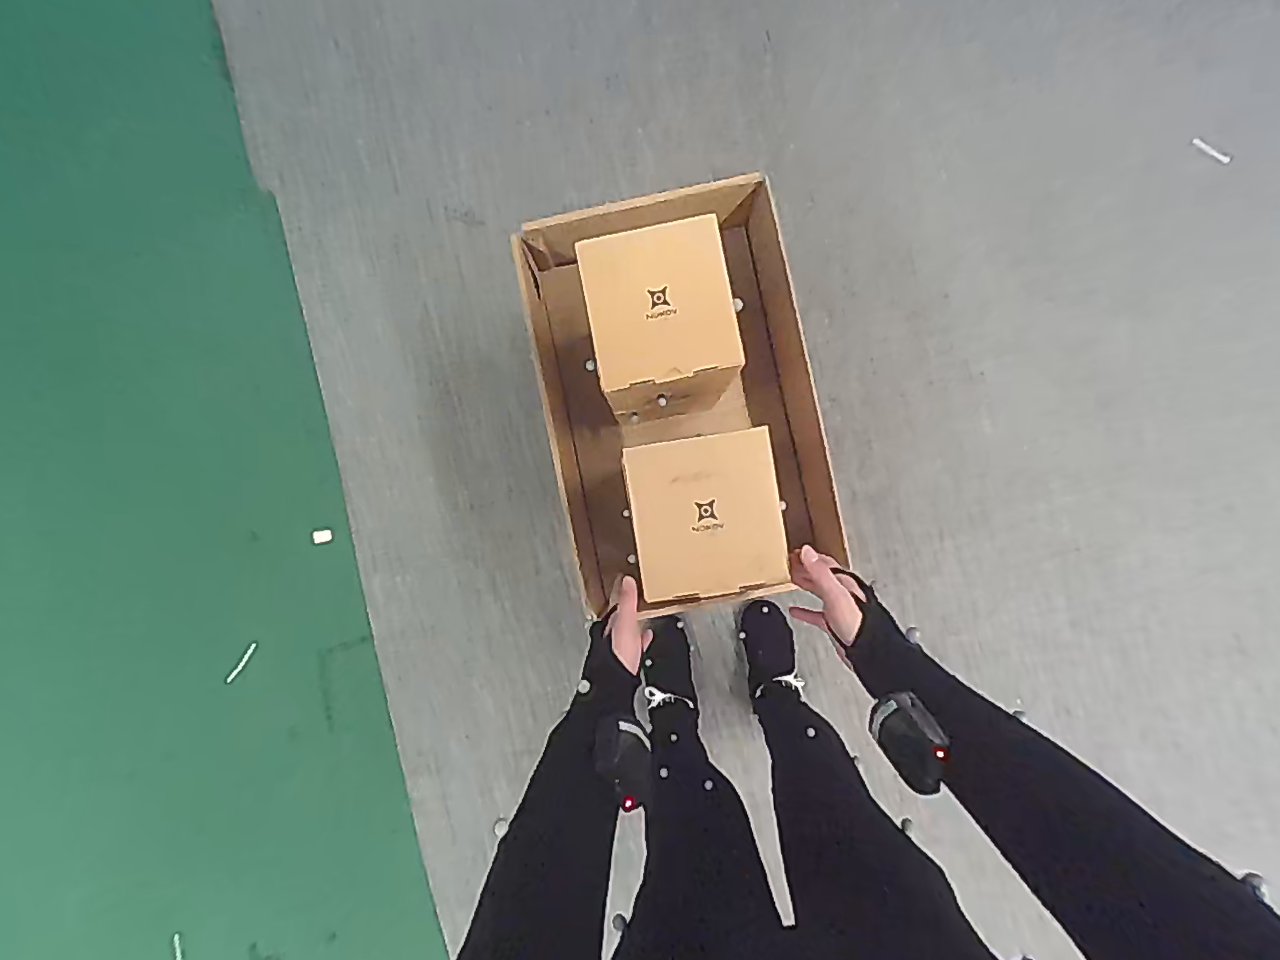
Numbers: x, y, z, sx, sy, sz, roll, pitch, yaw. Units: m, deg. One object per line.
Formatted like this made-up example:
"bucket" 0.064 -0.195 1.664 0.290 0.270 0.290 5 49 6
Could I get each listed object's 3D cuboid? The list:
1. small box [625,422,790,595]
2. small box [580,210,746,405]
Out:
"small box" 0.077 0.033 0.677 0.168 0.176 0.179 -8 87 1
"small box" 0.025 -0.206 0.690 0.168 0.176 0.179 -11 90 1
